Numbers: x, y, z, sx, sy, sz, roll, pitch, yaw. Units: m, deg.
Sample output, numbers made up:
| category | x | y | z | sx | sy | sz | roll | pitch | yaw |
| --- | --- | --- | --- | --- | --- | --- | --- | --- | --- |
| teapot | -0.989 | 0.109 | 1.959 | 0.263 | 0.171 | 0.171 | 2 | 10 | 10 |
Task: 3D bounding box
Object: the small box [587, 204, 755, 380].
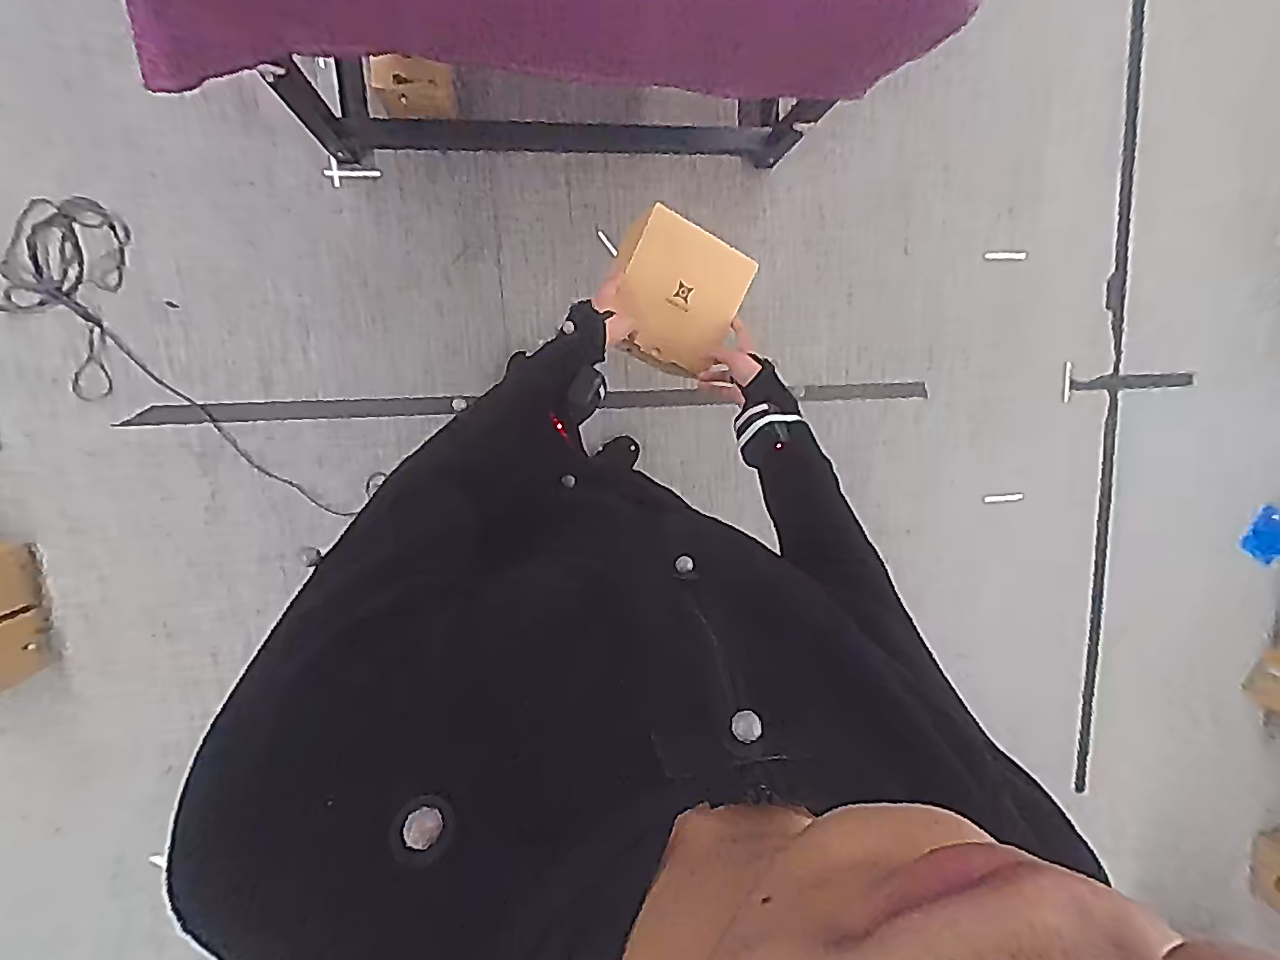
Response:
| category | x | y | z | sx | sy | sz | roll | pitch | yaw |
| --- | --- | --- | --- | --- | --- | --- | --- | --- | --- |
| small box | 0.033 | -0.266 | 0.798 | 0.168 | 0.176 | 0.179 | 22 | 98 | -19 |
